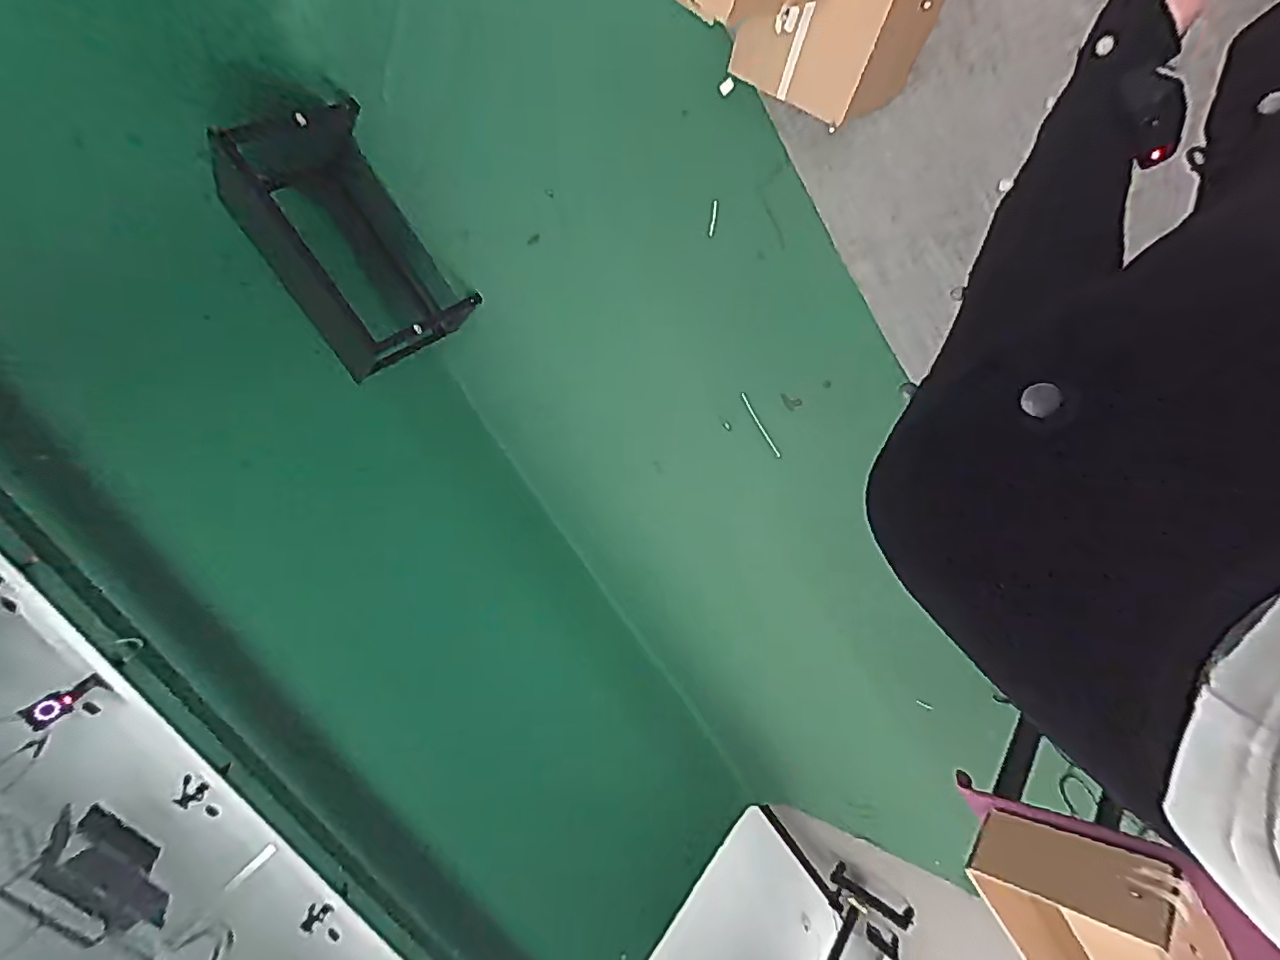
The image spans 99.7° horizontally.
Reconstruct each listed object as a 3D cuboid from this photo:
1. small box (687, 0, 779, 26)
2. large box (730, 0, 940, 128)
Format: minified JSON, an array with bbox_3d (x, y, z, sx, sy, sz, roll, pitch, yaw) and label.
[{"bbox_3d":[0.155,-0.887,0.873,0.168,0.176,0.179,43,148,10],"label":"small box"},{"bbox_3d":[0.444,-1.051,1.127,0.320,0.320,0.408,40,149,16],"label":"large box"}]
